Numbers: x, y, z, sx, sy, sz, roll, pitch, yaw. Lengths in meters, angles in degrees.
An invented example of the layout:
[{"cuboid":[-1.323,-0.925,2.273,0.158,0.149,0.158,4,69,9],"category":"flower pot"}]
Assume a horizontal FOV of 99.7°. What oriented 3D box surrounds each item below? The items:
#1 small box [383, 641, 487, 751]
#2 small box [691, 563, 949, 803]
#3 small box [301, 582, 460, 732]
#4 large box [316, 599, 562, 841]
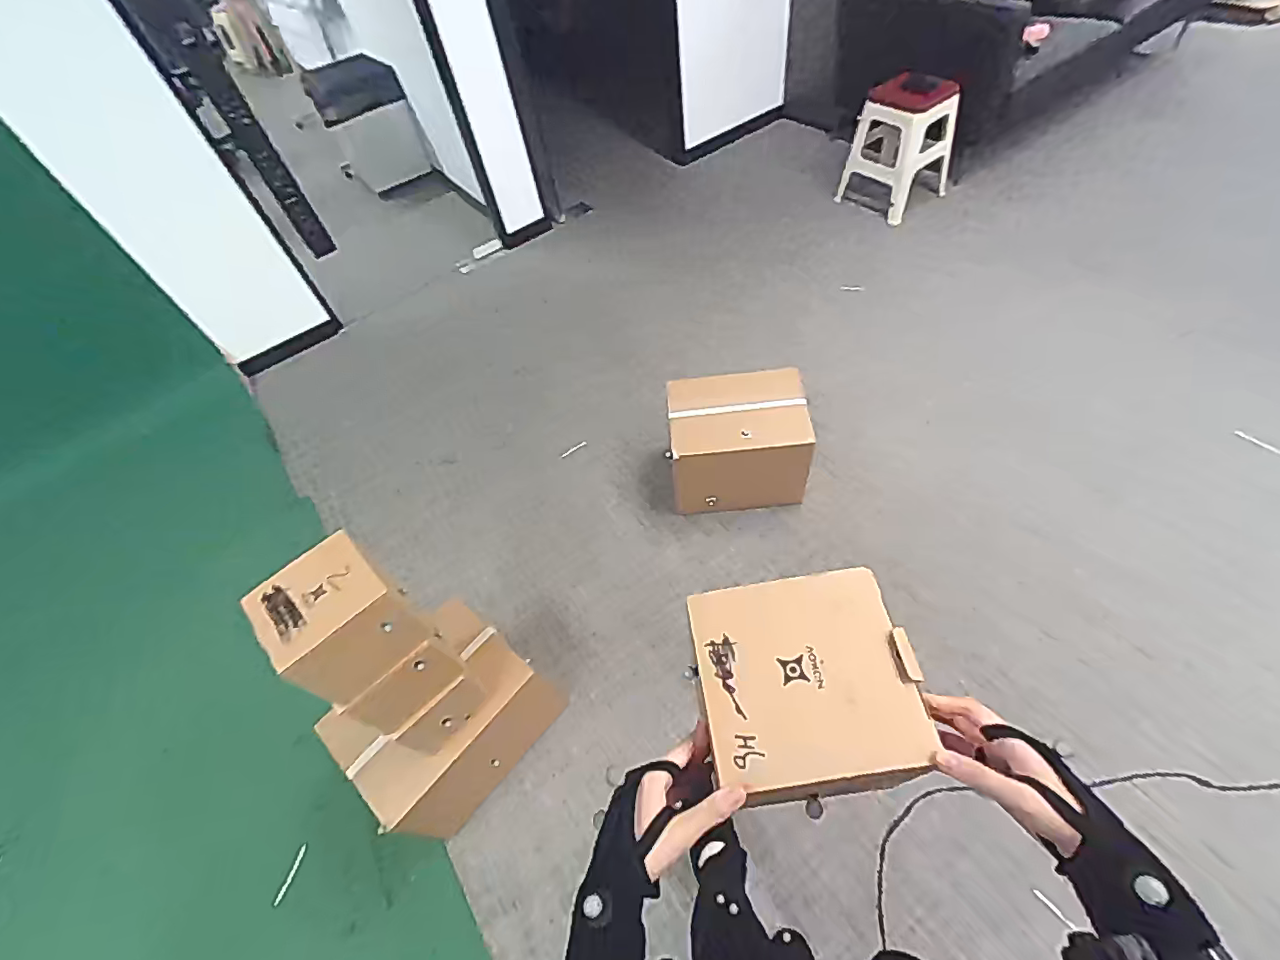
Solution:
[{"cuboid":[-0.447,0.431,1.117,0.168,0.176,0.179,-40,58,-21],"category":"small box"},{"cuboid":[0.146,0.198,0.514,0.179,0.176,0.168,-7,53,0],"category":"small box"},{"cuboid":[-0.468,0.329,0.993,0.179,0.176,0.168,-39,58,-21],"category":"small box"},{"cuboid":[-0.458,0.580,1.316,0.320,0.320,0.408,31,65,28],"category":"large box"}]
